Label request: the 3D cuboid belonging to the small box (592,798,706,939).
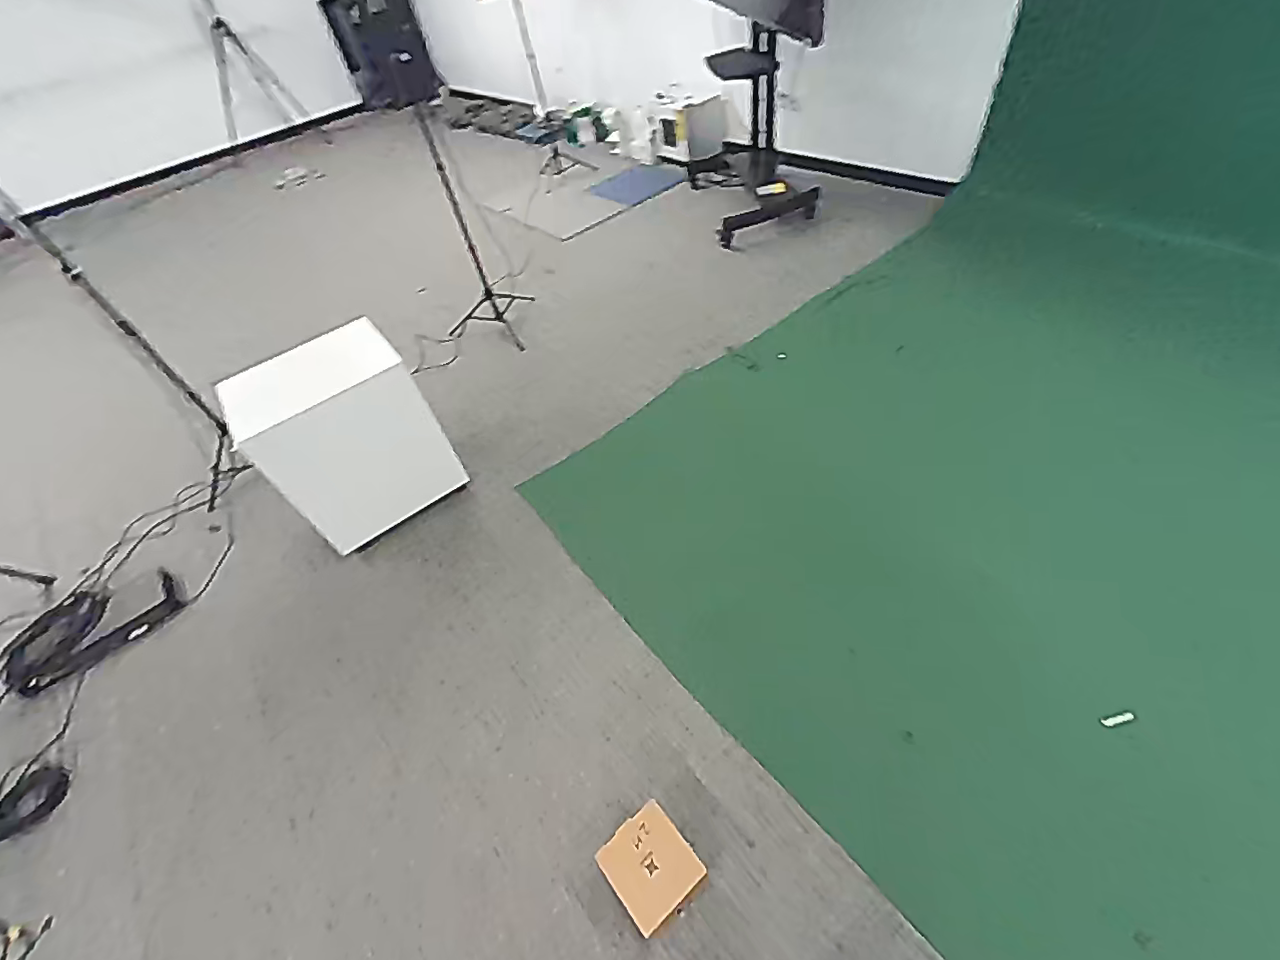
[{"bbox_3d":[0.026,0.826,1.150,0.168,0.176,0.179,-35,51,-21],"label":"small box"}]
